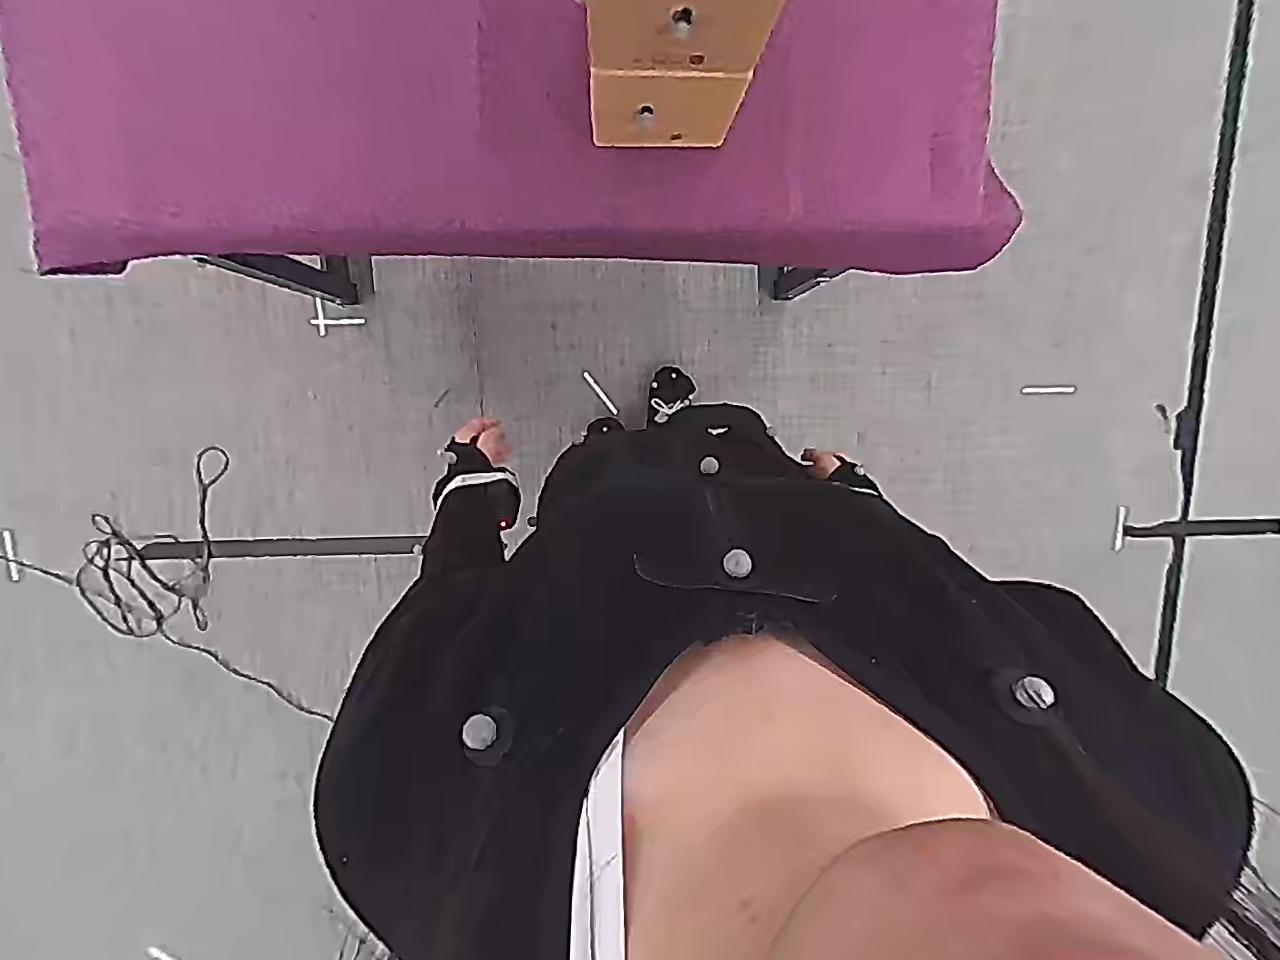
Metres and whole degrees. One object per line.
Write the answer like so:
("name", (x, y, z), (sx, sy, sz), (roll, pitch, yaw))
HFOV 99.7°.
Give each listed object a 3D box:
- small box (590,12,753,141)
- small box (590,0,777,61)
("small box", (0.029, -0.506, 0.605), (0.168, 0.176, 0.179), (-1, 99, -3))
("small box", (0.039, -0.484, 0.443), (0.168, 0.176, 0.179), (0, 100, -3))
